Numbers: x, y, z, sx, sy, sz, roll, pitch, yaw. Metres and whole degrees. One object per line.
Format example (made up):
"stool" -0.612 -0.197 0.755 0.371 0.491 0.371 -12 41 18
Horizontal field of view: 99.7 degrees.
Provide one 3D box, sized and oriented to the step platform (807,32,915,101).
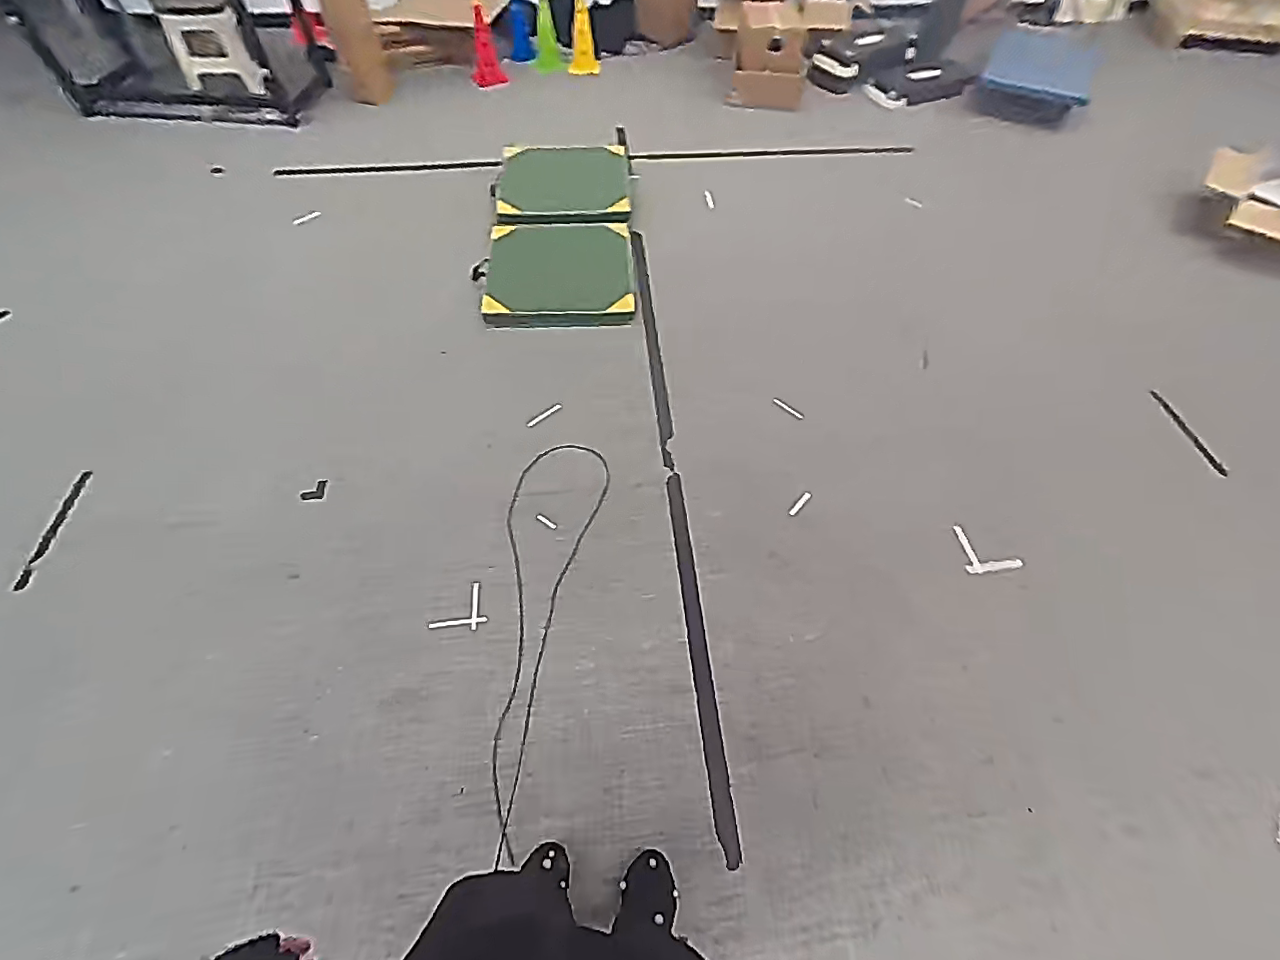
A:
"step platform" 1.403 -2.622 3.418 0.684 0.204 0.286 -29 62 -19
